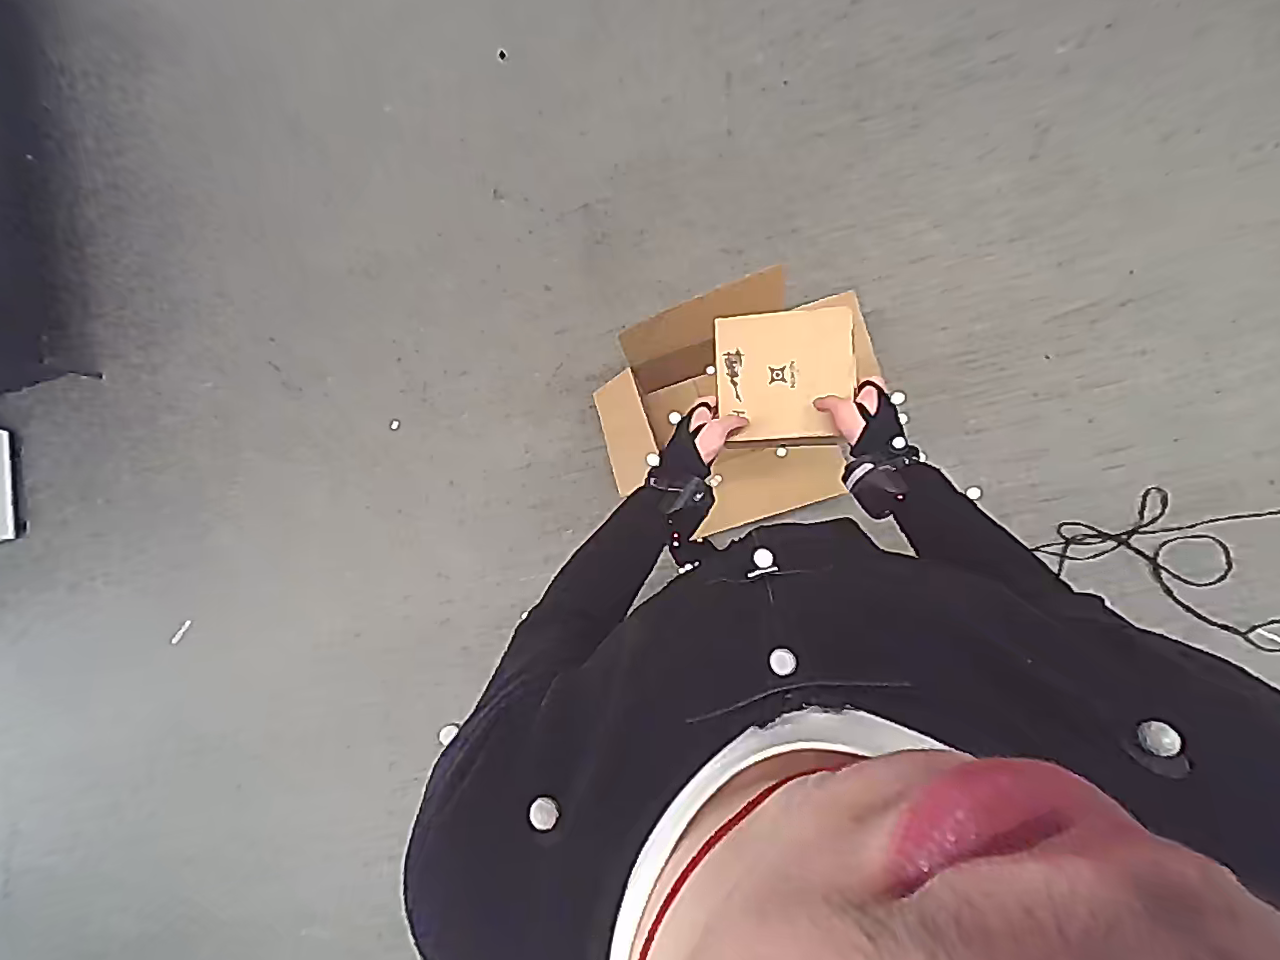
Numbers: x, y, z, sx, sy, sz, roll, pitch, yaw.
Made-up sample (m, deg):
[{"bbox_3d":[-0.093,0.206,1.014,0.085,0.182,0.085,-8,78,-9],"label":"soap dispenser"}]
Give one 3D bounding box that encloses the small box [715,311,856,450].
[{"bbox_3d":[0.201,-0.133,0.781,0.179,0.176,0.168,-2,89,11],"label":"small box"}]
